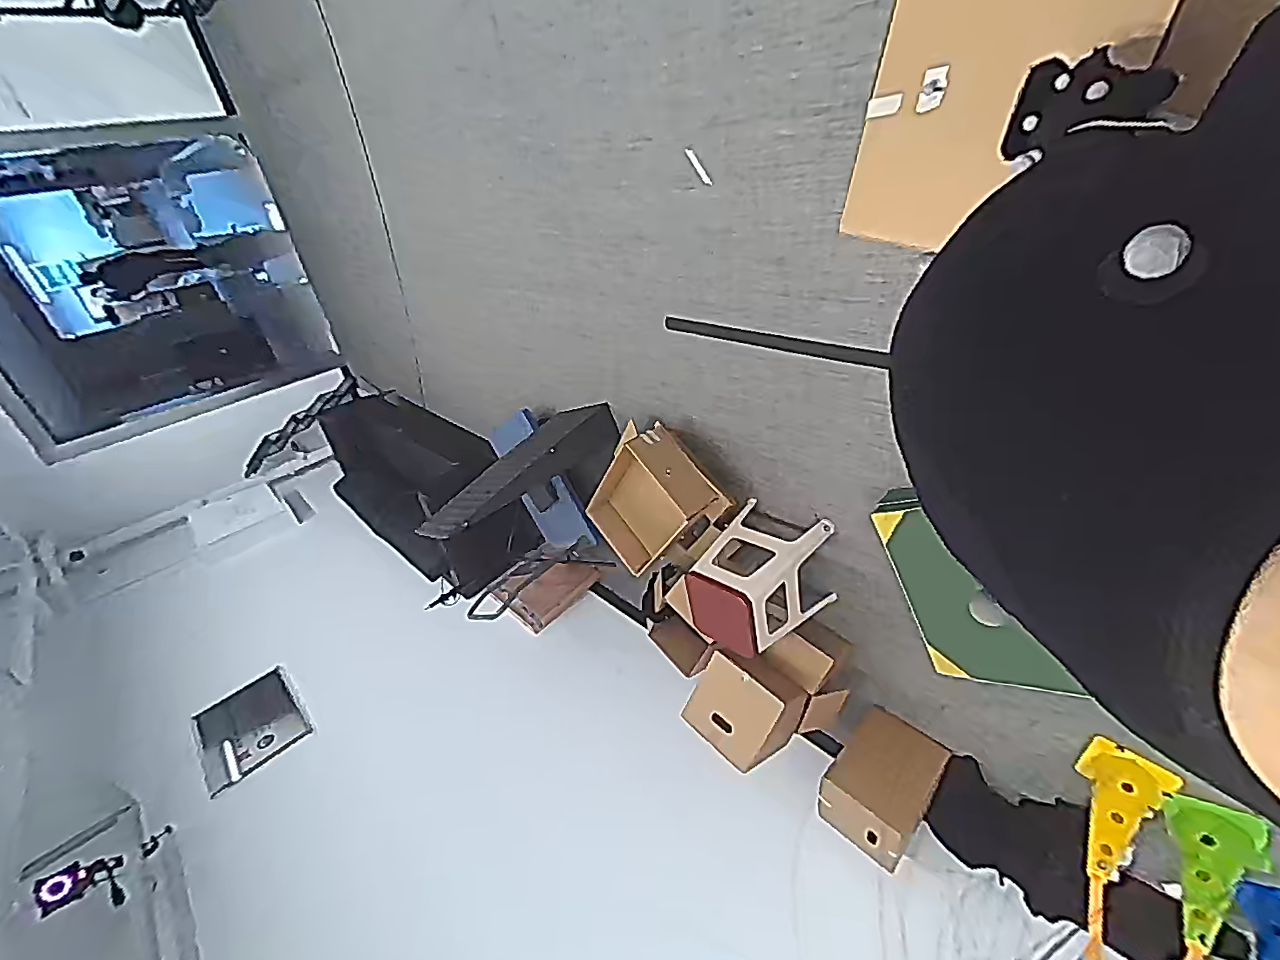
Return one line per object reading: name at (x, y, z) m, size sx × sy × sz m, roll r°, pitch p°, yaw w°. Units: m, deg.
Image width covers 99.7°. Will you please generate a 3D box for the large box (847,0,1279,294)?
large box at (0.565, -0.457, 0.743) m, size 0.320 × 0.408 × 0.320 m, roll 42°, pitch 136°, yaw 44°
